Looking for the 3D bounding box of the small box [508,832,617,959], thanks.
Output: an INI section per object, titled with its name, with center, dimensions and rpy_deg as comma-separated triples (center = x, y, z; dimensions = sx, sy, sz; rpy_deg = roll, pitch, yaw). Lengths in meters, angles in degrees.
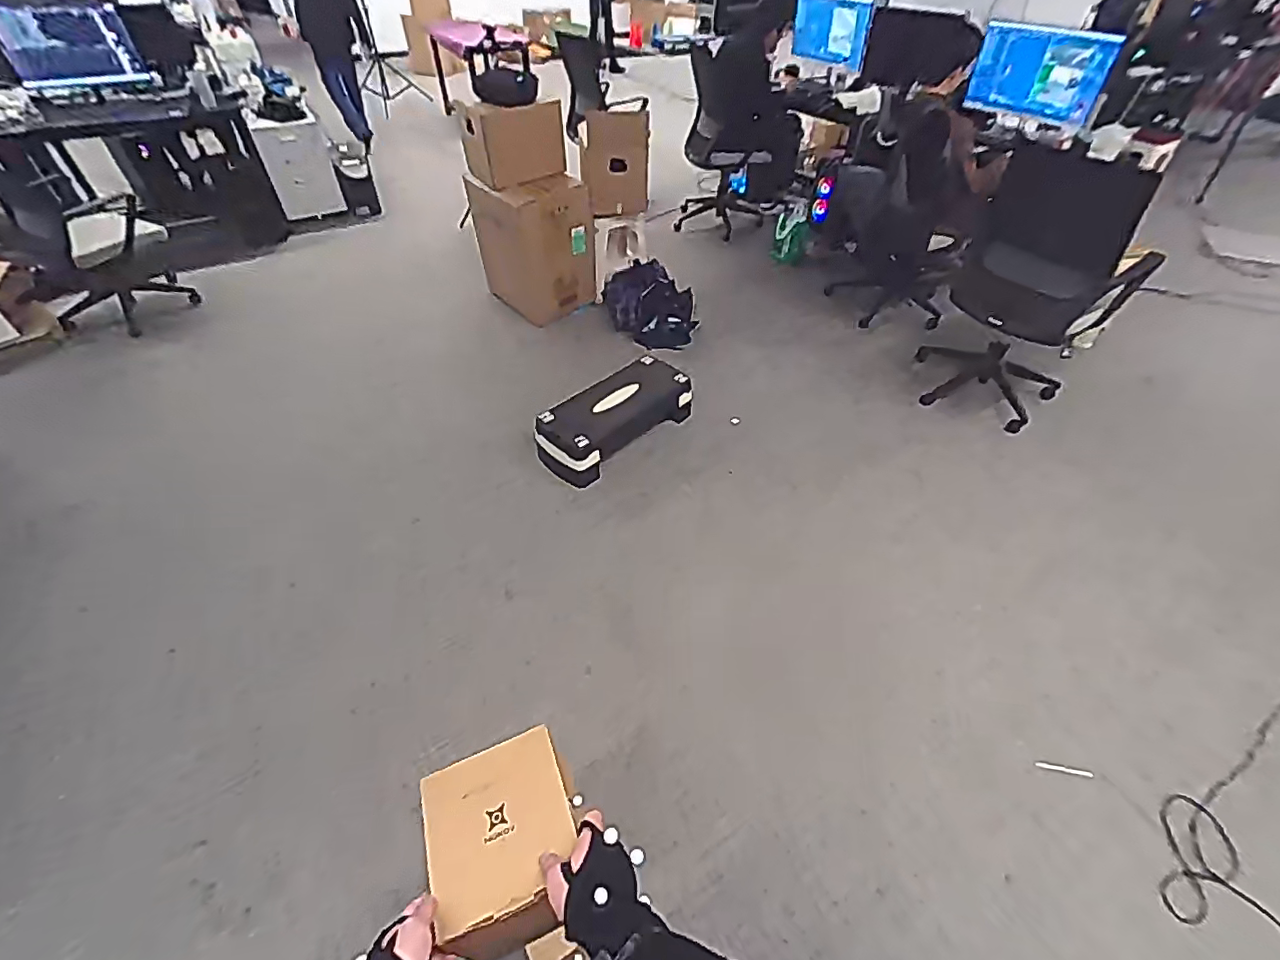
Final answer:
[small box]
center = -0.162, 0.902, 1.153
dimensions = 0.168, 0.176, 0.179
rpy_deg = -25, 52, -21
